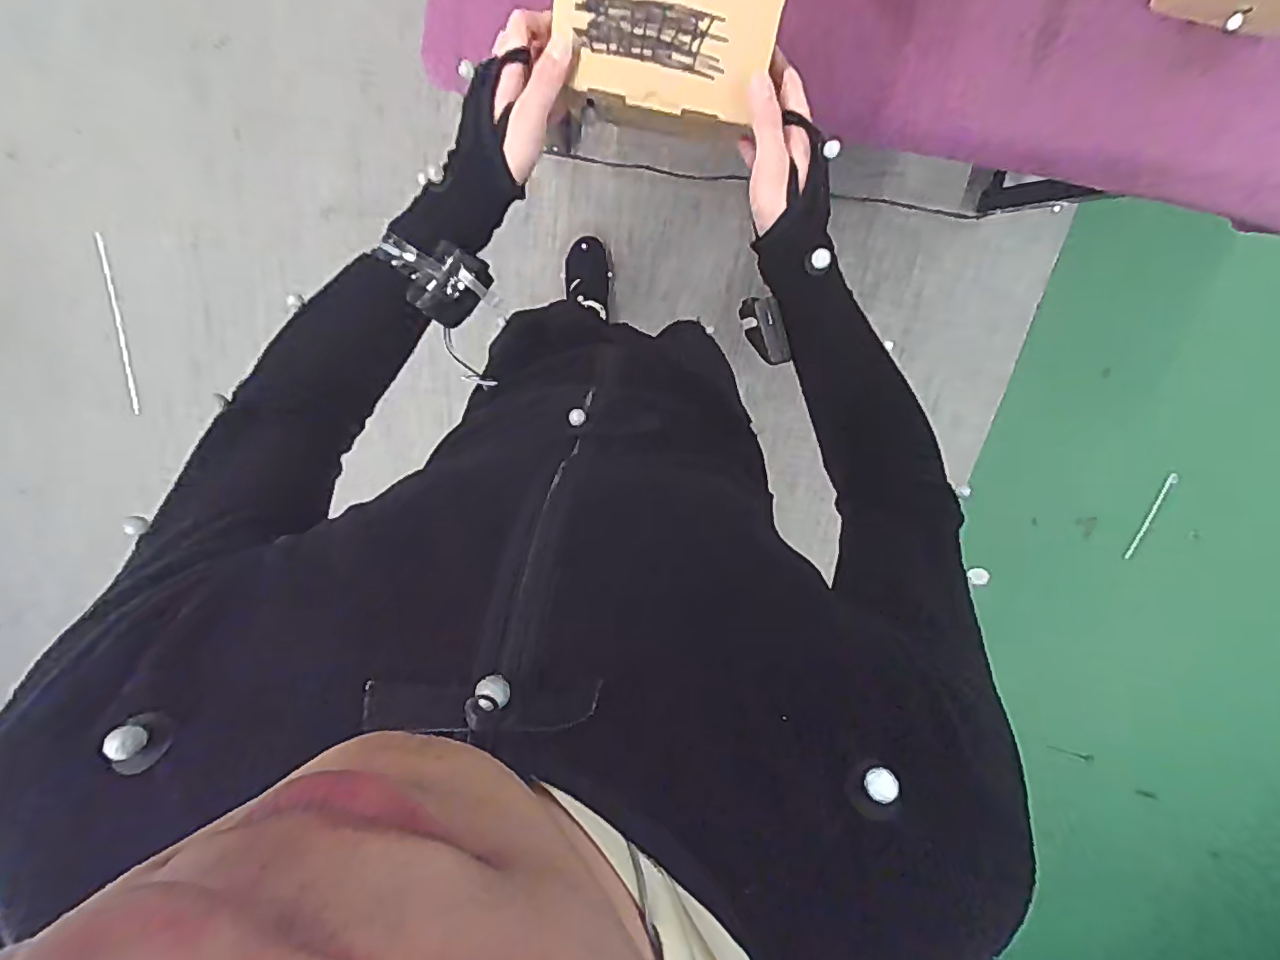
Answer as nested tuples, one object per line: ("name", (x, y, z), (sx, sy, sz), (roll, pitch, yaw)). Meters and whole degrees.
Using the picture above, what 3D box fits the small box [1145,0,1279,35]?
("small box", (0.738, -0.629, 0.595), (0.179, 0.176, 0.168), (6, 110, -4))

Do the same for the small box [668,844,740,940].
("small box", (0.186, 1.232, 1.622), (0.179, 0.176, 0.168), (8, 110, -3))

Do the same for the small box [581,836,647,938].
("small box", (-0.075, 1.203, 1.603), (0.168, 0.176, 0.179), (9, 110, -4))
